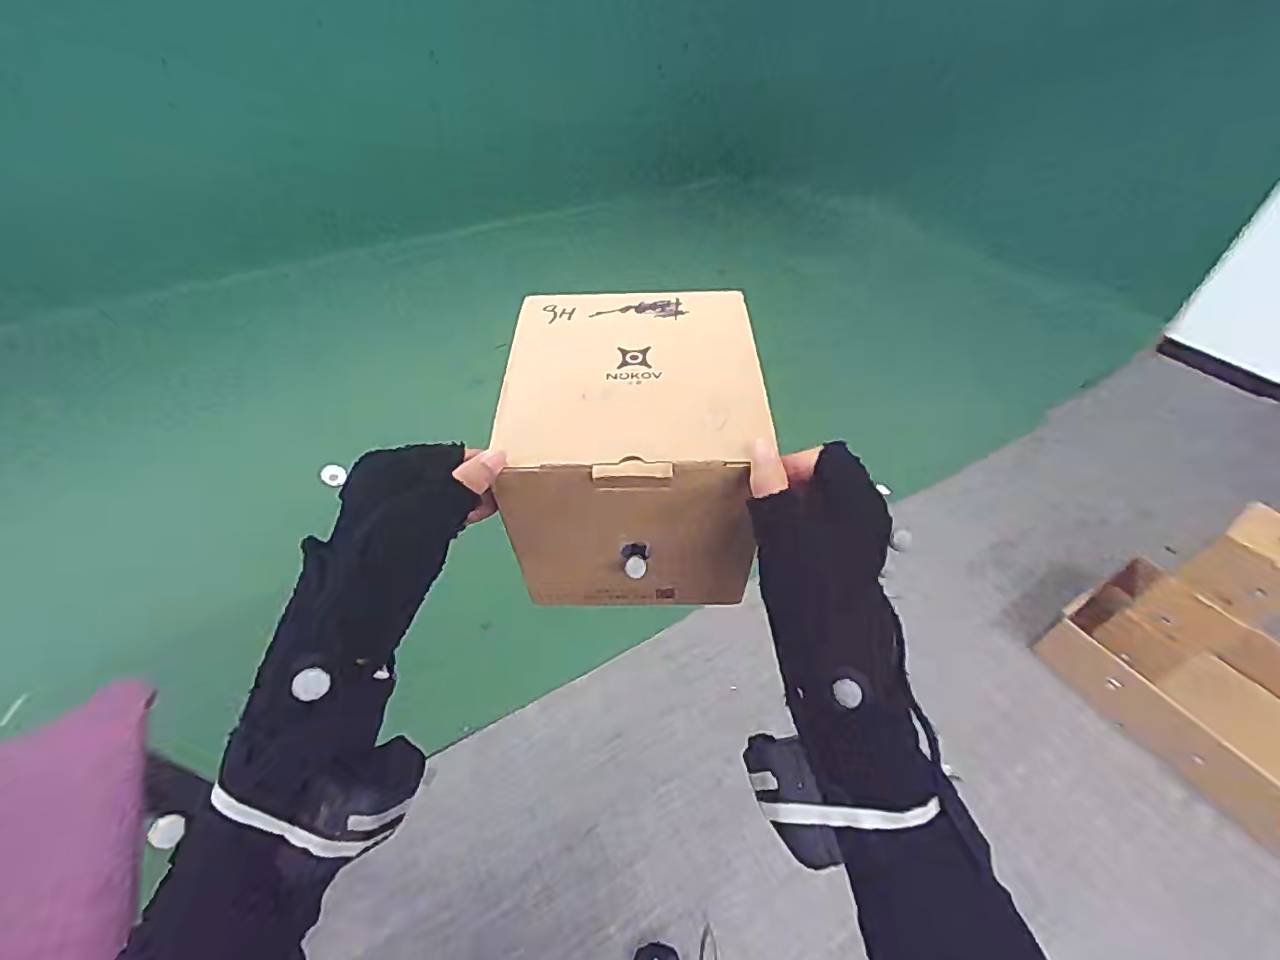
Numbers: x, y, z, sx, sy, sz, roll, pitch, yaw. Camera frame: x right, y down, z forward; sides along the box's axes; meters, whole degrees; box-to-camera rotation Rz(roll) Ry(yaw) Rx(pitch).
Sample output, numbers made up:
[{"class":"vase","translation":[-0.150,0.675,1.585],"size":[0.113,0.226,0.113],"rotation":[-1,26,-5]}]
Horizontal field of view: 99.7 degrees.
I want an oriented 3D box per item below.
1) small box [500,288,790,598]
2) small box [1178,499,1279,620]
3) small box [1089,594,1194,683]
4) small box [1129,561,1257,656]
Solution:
[{"class":"small box","translation":[0.006,-0.022,0.410],"size":[0.168,0.176,0.179],"rotation":[1,52,1]},{"class":"small box","translation":[1.376,0.180,1.209],"size":[0.179,0.176,0.168],"rotation":[-25,54,-23]},{"class":"small box","translation":[1.365,0.406,1.444],"size":[0.179,0.176,0.168],"rotation":[-23,51,-21]},{"class":"small box","translation":[1.369,0.295,1.325],"size":[0.179,0.176,0.168],"rotation":[-24,52,-22]}]
